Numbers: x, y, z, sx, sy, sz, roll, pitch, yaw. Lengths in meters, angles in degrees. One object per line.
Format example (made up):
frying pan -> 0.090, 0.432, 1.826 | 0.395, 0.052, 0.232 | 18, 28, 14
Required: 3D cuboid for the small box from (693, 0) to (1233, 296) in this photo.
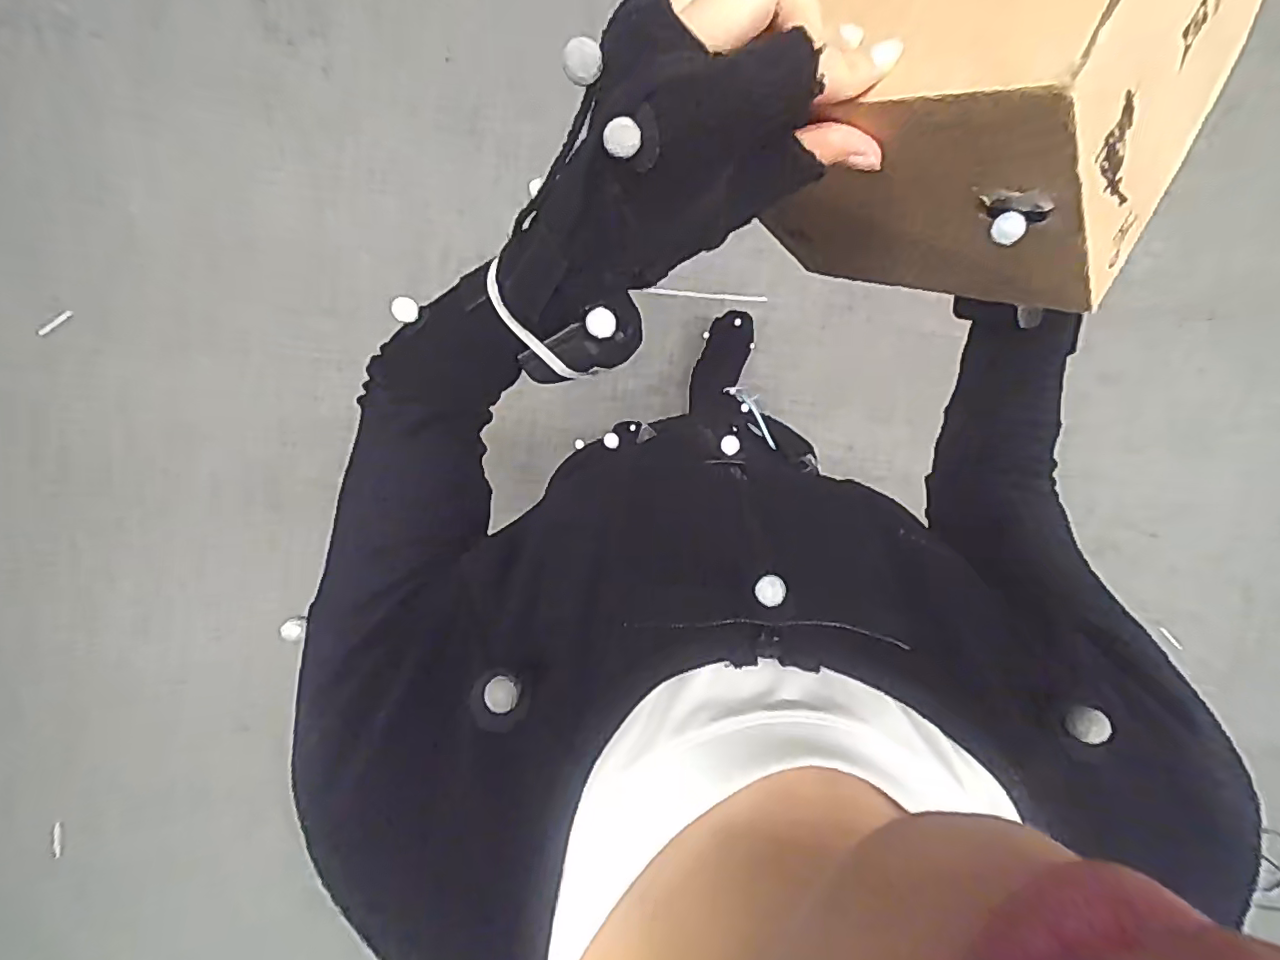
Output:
small box -> 0.153, -0.216, 0.263 | 0.168, 0.176, 0.179 | 15, 101, -47
